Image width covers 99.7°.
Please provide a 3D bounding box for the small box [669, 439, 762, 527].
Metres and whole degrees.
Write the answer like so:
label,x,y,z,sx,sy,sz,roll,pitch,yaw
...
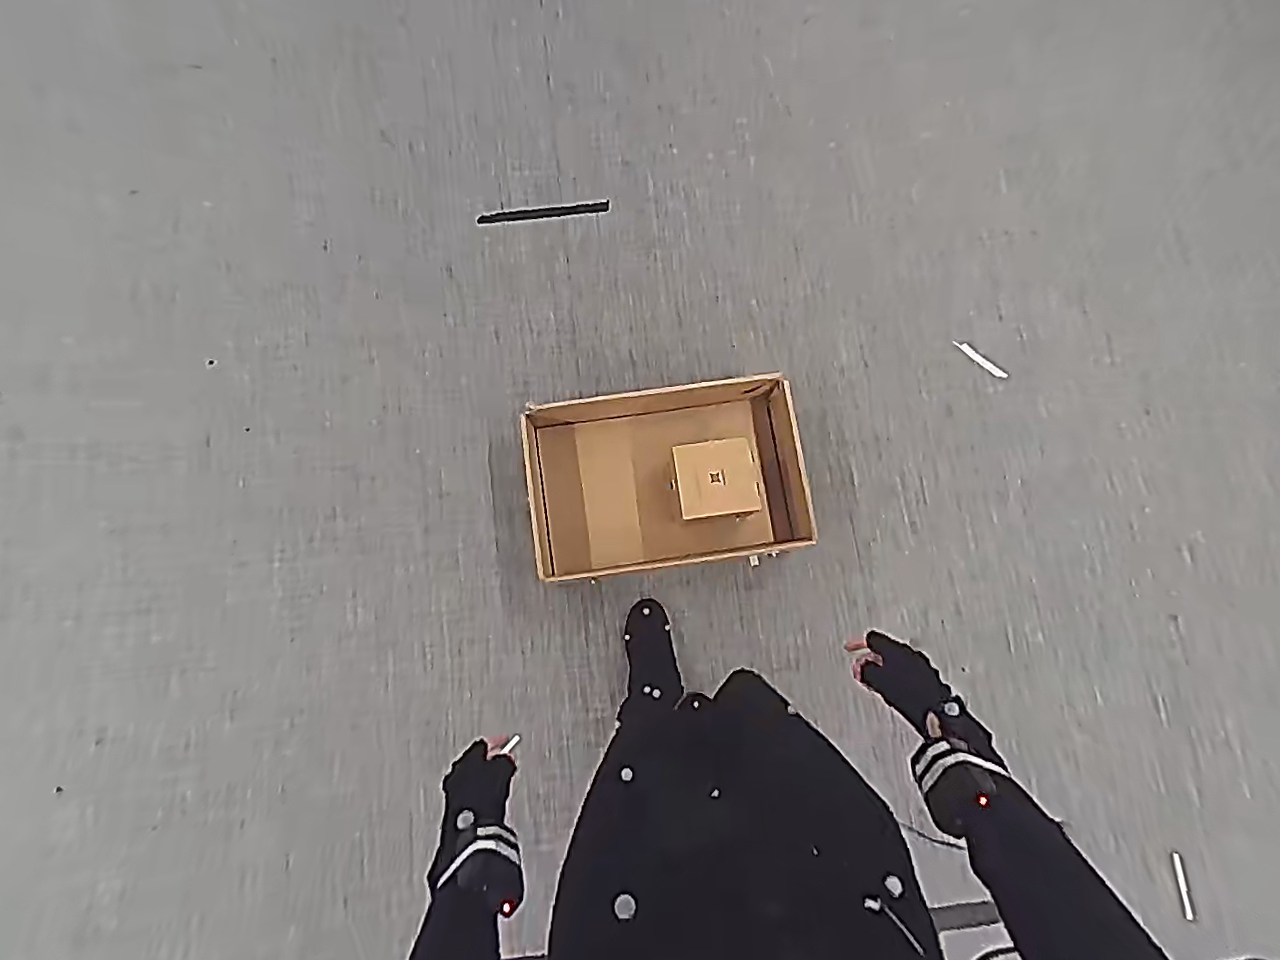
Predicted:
label,x,y,z,sx,sy,sz,roll,pitch,yaw
small box,0.167,0.012,1.256,0.179,0.176,0.168,-8,80,-1
